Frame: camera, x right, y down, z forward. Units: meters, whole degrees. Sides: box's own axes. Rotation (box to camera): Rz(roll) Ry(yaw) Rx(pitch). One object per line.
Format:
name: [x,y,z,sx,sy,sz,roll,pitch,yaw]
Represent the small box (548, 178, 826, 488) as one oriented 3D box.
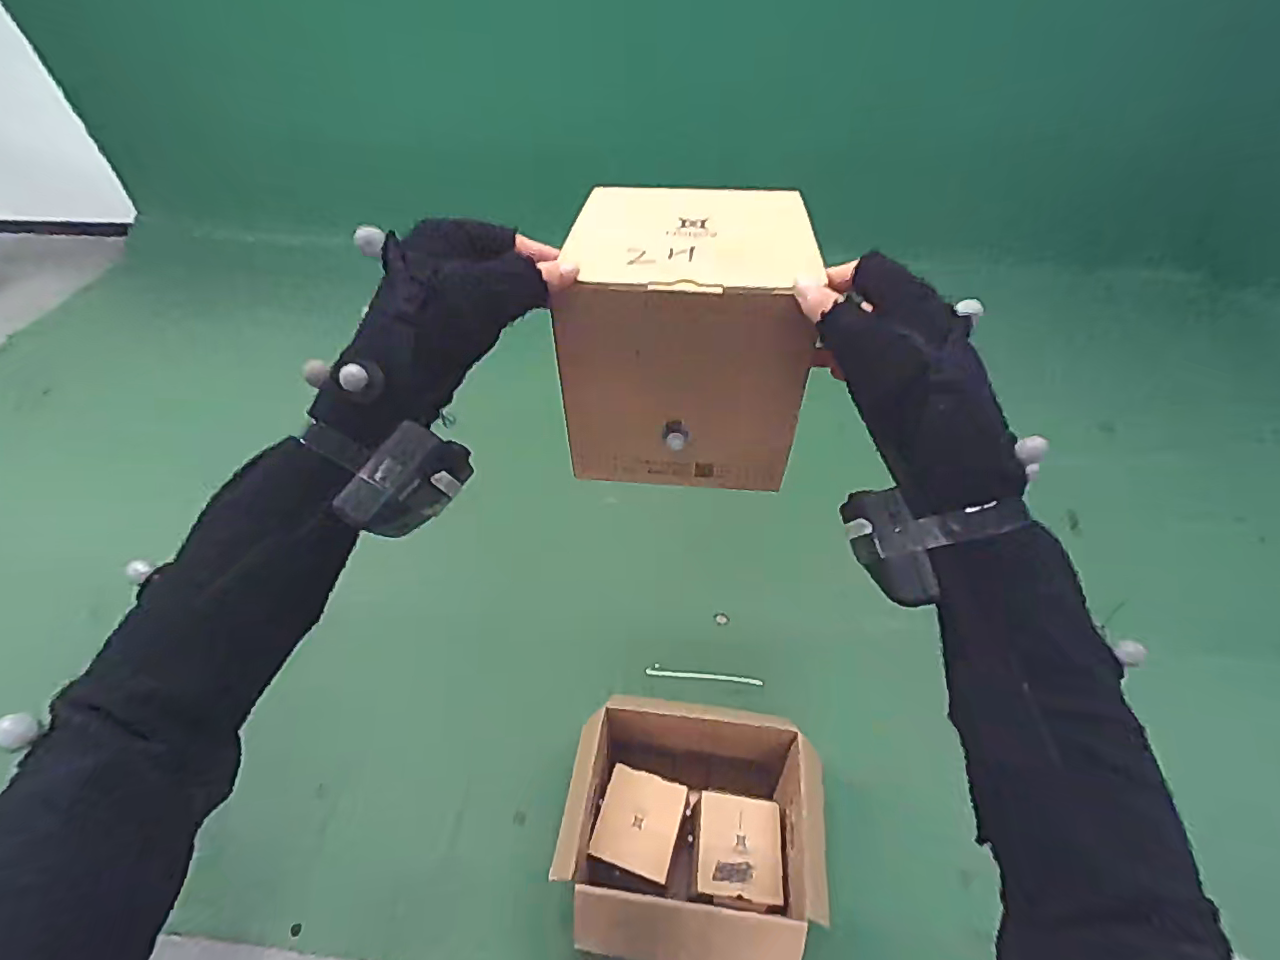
small box: [0.035,-0.117,0.427,0.168,0.176,0.179,4,46,5]
